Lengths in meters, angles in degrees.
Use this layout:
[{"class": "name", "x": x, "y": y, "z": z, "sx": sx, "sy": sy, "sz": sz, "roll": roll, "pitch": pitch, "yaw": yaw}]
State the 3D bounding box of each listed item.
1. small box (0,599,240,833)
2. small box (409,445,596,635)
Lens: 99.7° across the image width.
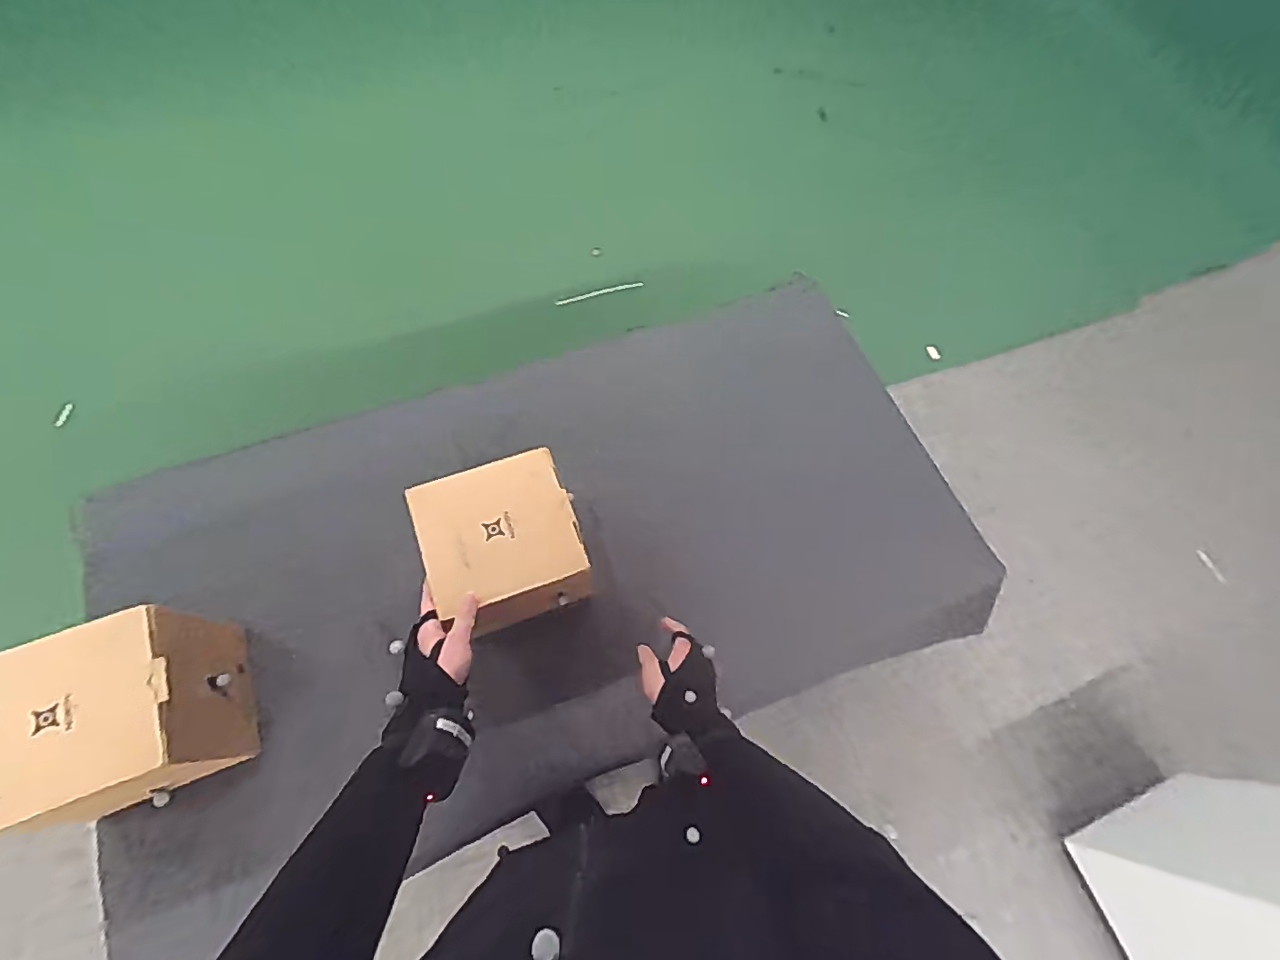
[{"class": "small box", "x": -0.557, "y": 0.244, "z": 0.569, "sx": 0.179, "sy": 0.176, "sz": 0.168, "roll": -18, "pitch": 70, "yaw": -15}, {"class": "small box", "x": -0.165, "y": 0.083, "z": 0.685, "sx": 0.179, "sy": 0.176, "sz": 0.168, "roll": -18, "pitch": 69, "yaw": -12}]
